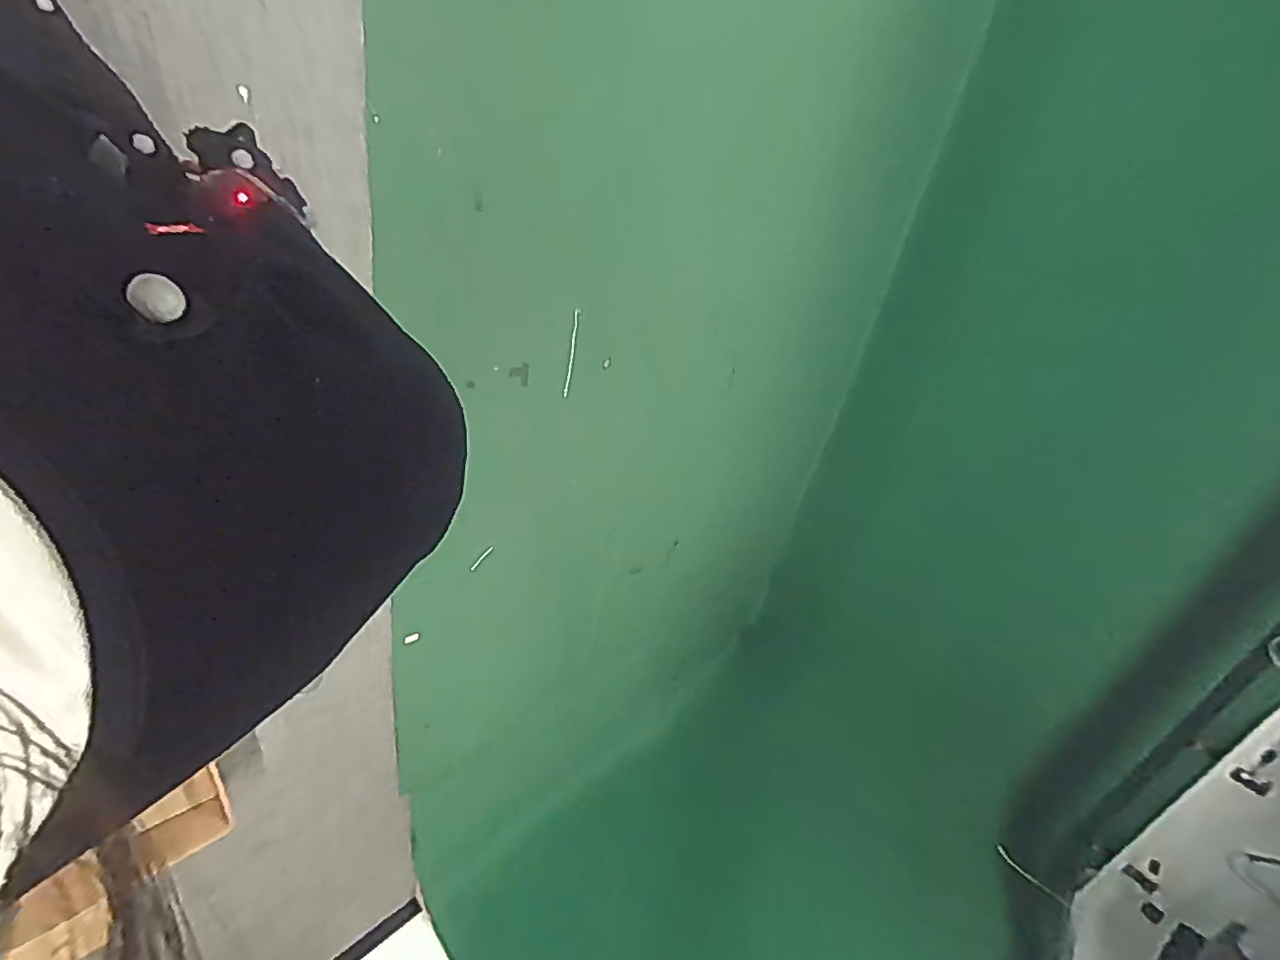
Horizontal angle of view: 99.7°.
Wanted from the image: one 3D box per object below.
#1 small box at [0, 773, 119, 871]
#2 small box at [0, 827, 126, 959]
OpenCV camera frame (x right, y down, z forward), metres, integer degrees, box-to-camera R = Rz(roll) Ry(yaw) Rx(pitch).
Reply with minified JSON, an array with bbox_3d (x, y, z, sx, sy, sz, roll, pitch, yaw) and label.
[{"bbox_3d":[-1.412,0.855,1.302,0.179,0.176,0.168,-22,135,-41],"label":"small box"},{"bbox_3d":[-1.286,0.925,1.191,0.179,0.176,0.168,-23,135,-39],"label":"small box"}]
